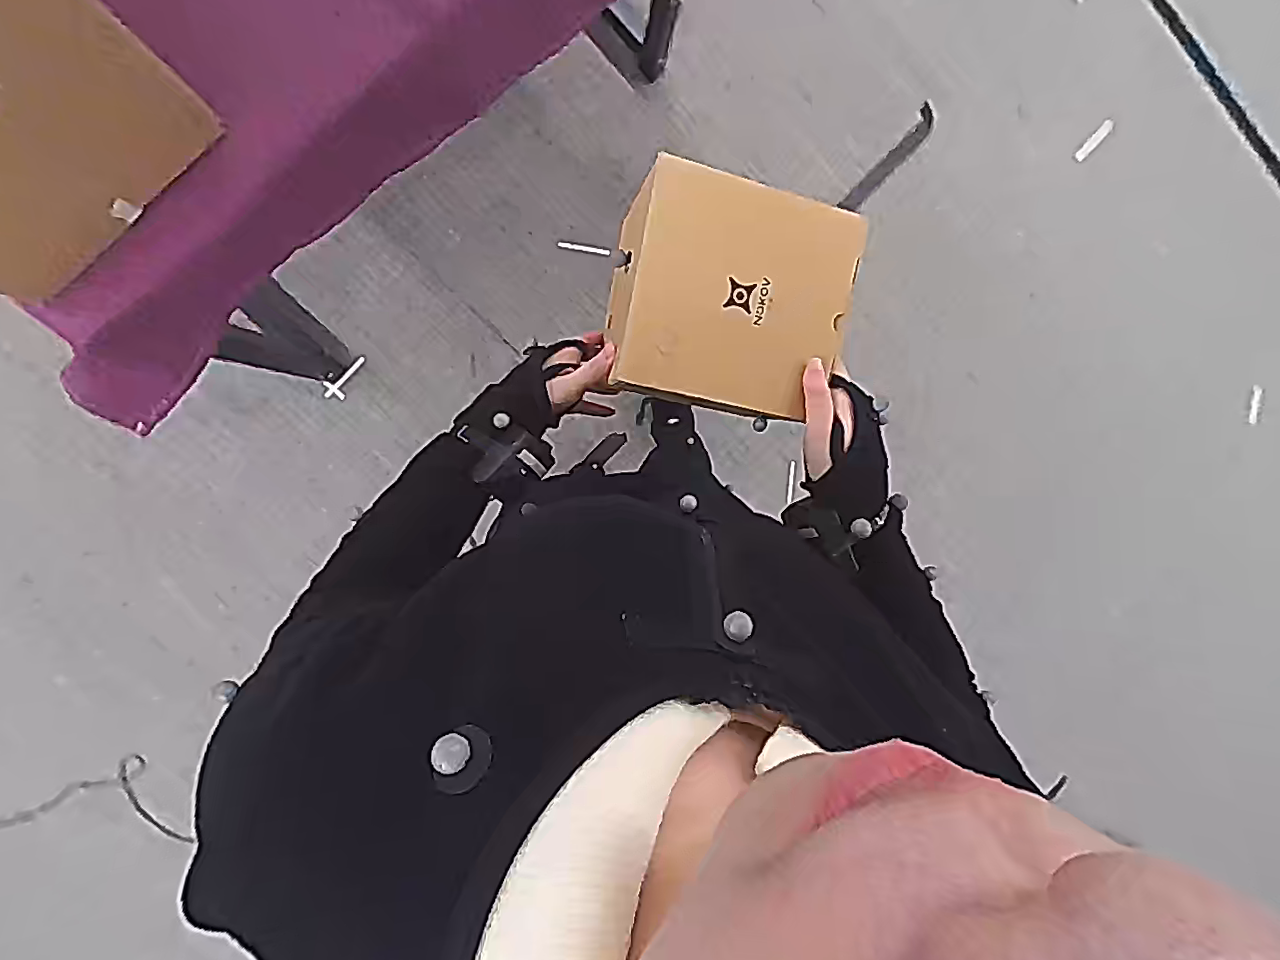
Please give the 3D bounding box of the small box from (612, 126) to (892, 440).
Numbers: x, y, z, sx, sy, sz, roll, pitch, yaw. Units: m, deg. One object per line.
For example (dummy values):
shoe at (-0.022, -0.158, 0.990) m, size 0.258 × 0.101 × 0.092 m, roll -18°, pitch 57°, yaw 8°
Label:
small box at (0.087, -0.142, 0.456) m, size 0.168 × 0.176 × 0.179 m, roll 5°, pitch 80°, yaw -31°
